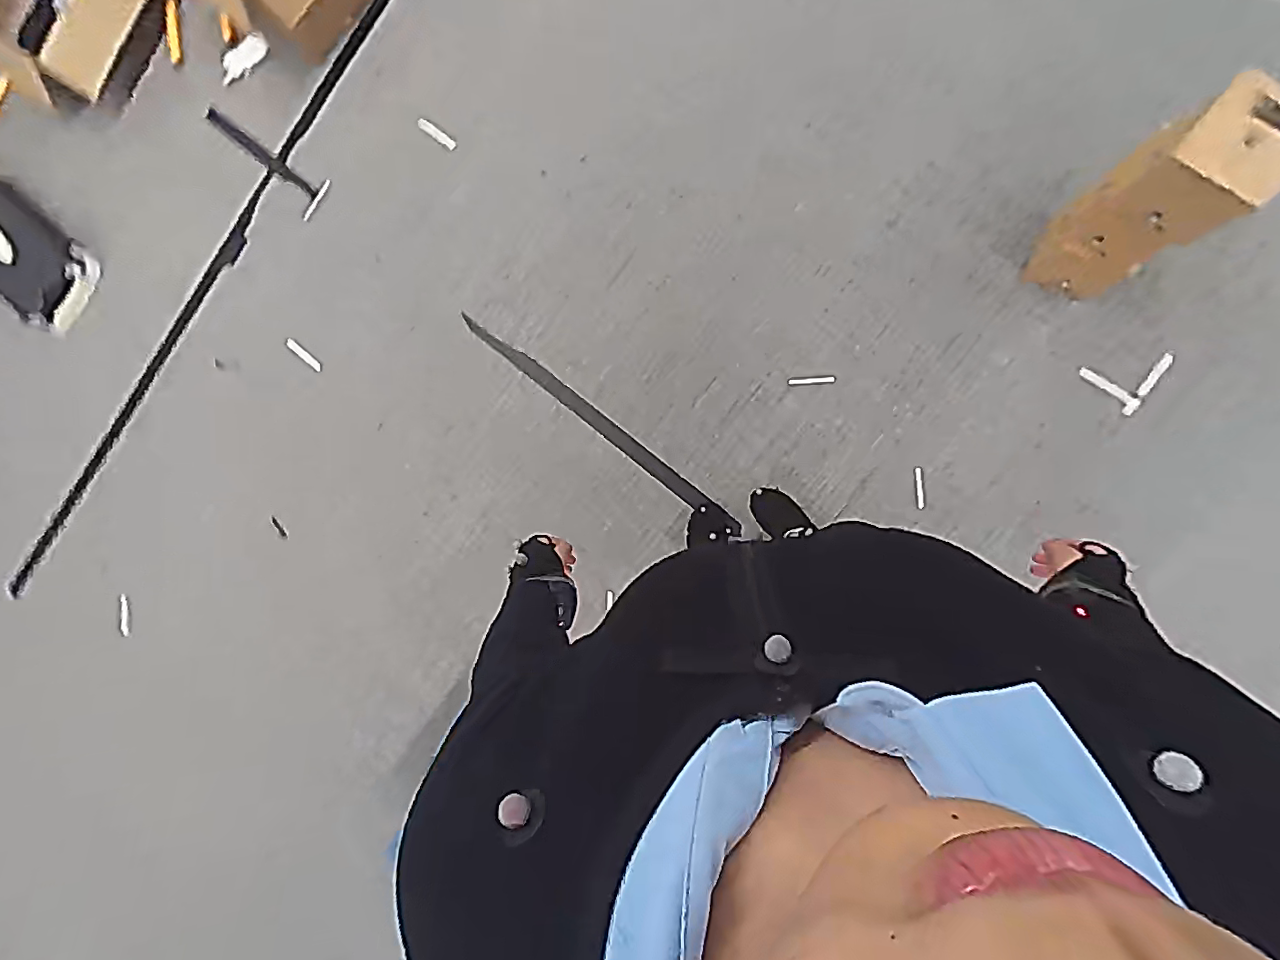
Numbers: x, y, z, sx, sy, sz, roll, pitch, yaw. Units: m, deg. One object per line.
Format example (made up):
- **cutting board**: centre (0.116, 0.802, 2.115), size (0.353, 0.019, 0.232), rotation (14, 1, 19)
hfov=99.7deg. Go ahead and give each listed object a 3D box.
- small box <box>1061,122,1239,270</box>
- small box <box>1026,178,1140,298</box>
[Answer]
- **small box**: centre (1.042, -0.579, 1.125), size (0.168, 0.176, 0.179), rotation (38, 95, 8)
- **small box**: centre (1.070, -0.567, 1.285), size (0.168, 0.176, 0.179), rotation (26, 93, 10)
